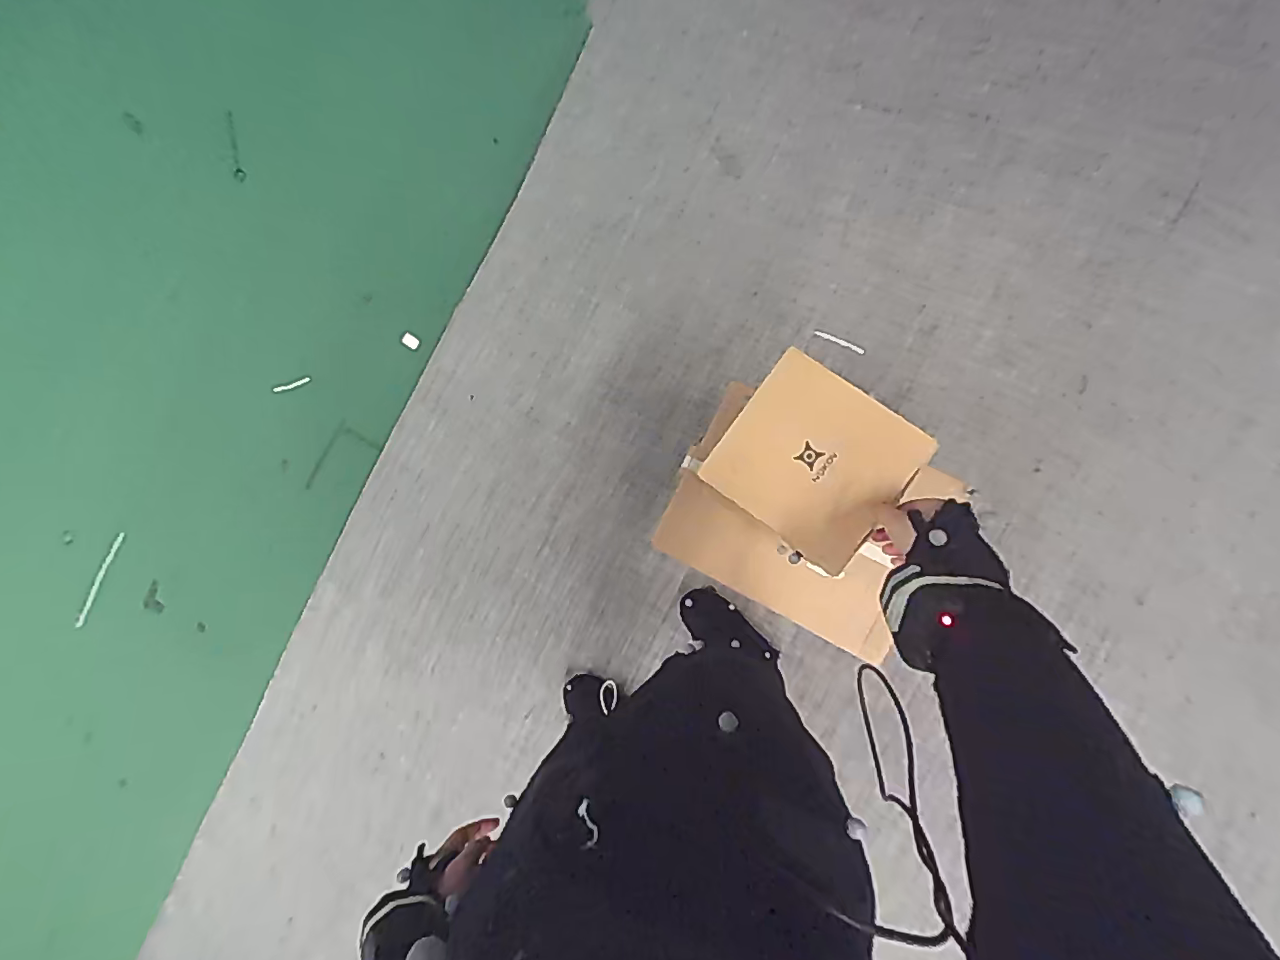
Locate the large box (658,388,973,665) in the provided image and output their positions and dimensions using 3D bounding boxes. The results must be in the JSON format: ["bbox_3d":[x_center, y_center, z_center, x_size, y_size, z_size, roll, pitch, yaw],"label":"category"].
[{"bbox_3d":[0.294,0.074,1.005,0.408,0.320,0.320,27,93,12],"label":"large box"}]

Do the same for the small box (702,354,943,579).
[{"bbox_3d":[0.191,-0.010,0.617,0.179,0.176,0.168,37,94,10],"label":"small box"}]
